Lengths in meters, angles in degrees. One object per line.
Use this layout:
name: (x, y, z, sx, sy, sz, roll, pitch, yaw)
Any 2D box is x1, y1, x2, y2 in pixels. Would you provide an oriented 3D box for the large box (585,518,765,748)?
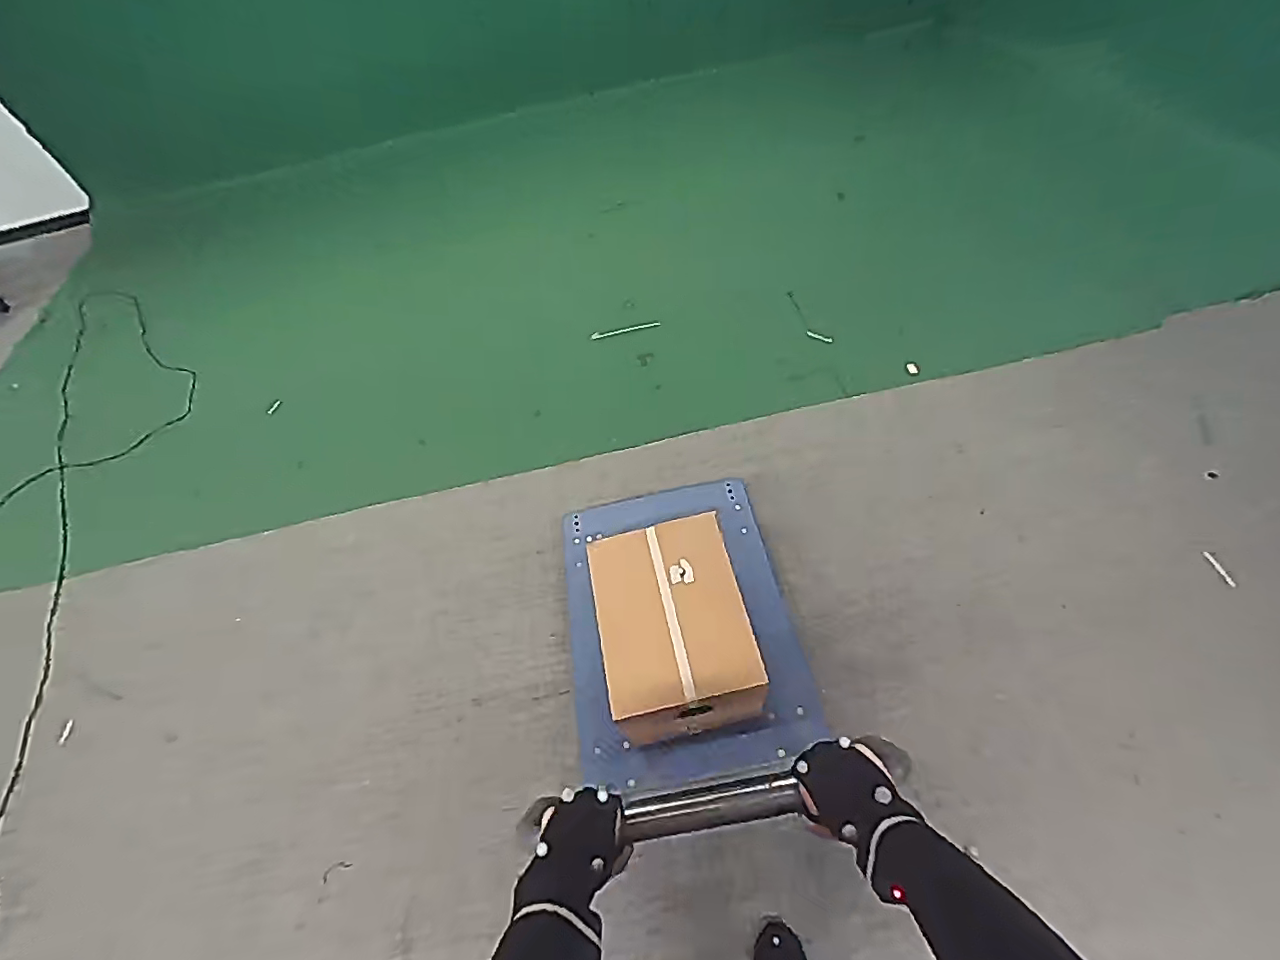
large box: (0.082, 0.367, 1.288, 0.320, 0.320, 0.408, -14, 54, 0)
